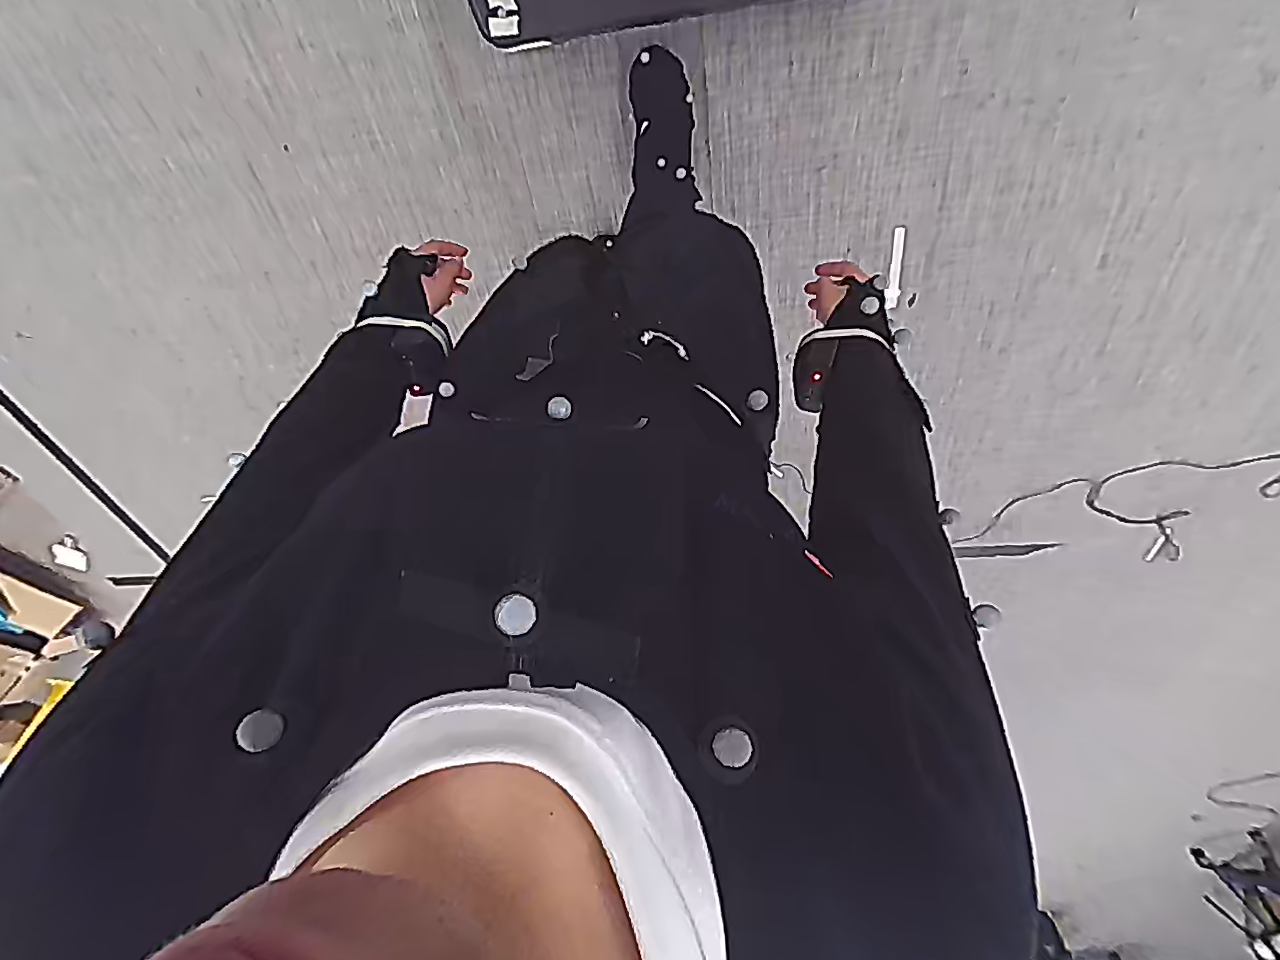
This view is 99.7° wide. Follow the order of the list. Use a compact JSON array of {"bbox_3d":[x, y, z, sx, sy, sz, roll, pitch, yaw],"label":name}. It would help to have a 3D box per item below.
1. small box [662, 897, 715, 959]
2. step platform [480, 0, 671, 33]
[{"bbox_3d":[0.163,1.499,1.773,0.168,0.176,0.179,-3,129,6],"label":"small box"},{"bbox_3d":[0.072,-0.861,0.756,0.684,0.204,0.286,-4,129,8],"label":"step platform"}]
